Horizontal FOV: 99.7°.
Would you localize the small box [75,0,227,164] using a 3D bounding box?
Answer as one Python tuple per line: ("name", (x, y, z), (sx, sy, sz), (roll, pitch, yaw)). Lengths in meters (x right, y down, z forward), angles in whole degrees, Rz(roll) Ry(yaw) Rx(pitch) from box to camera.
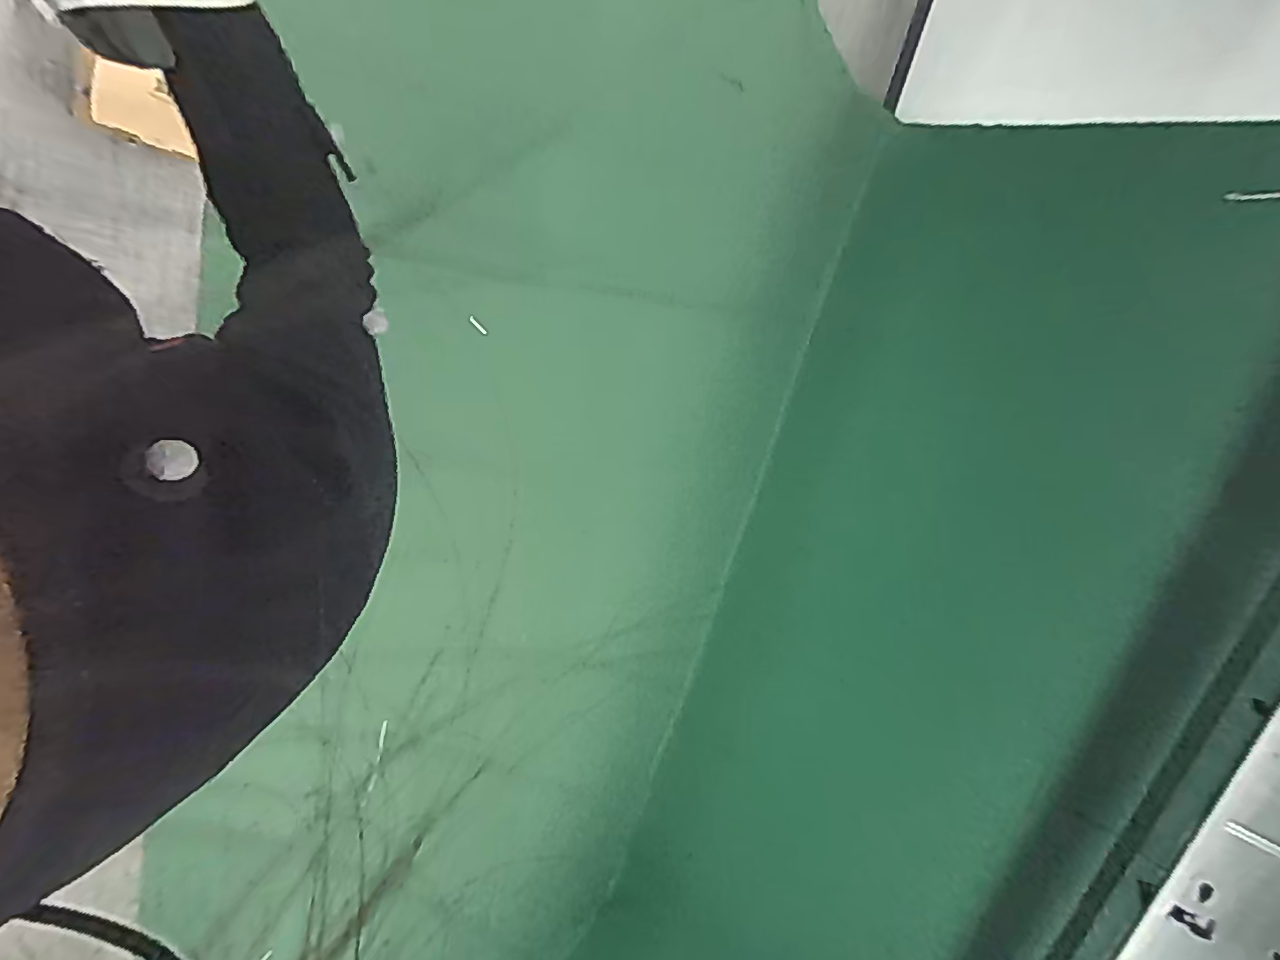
("small box", (-0.863, -0.688, 0.953), (0.168, 0.176, 0.179), (0, 111, -53))
